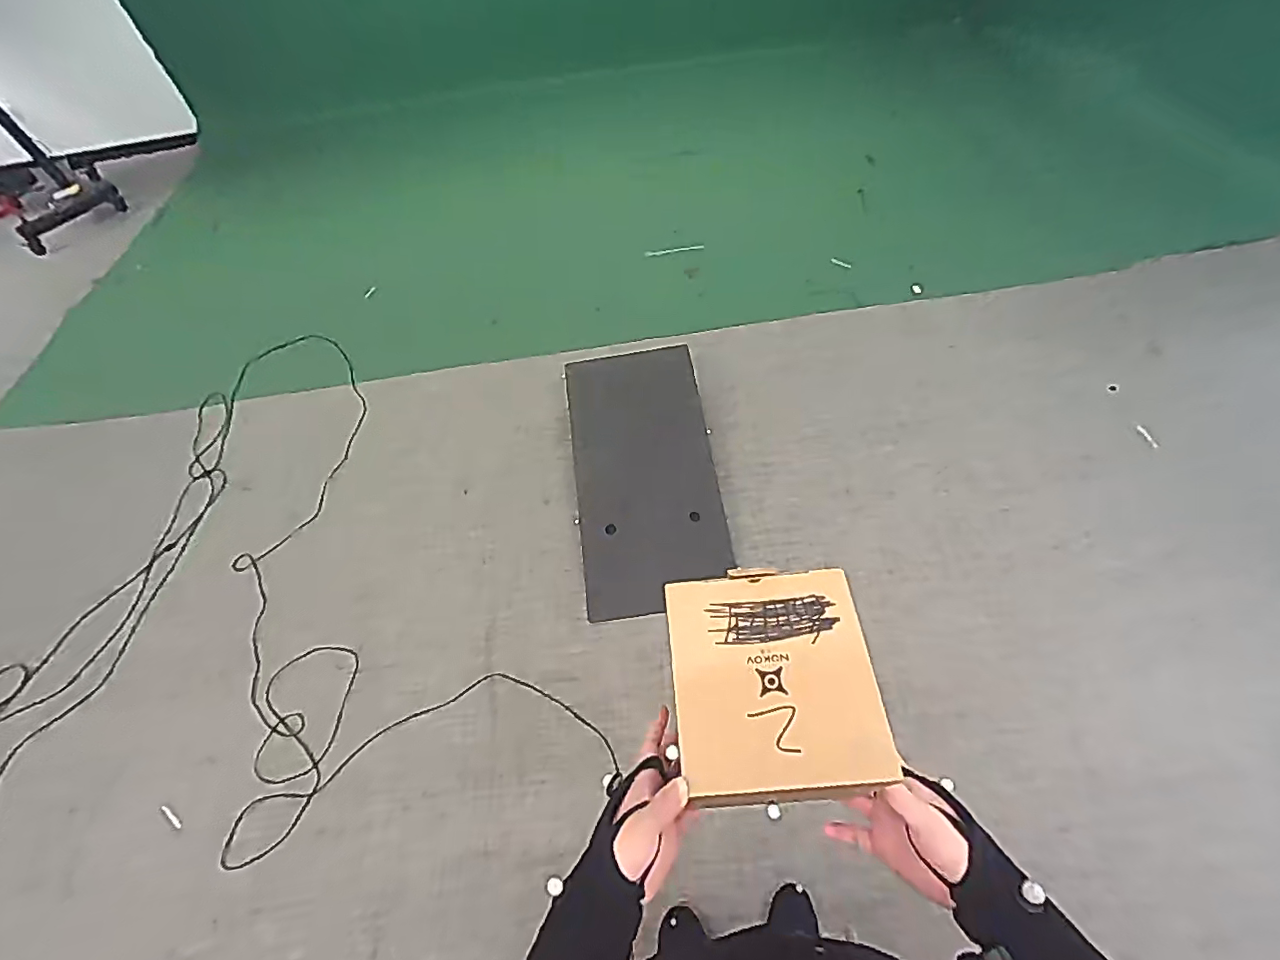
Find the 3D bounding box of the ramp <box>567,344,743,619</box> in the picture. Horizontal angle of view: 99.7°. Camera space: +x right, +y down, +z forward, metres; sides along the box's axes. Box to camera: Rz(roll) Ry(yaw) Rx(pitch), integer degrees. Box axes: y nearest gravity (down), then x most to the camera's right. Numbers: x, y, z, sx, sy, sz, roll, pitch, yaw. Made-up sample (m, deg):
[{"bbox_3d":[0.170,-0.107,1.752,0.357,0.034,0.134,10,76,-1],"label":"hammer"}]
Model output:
[{"bbox_3d":[0.023,-0.045,1.892,0.509,0.206,0.991,-9,55,-1],"label":"ramp"}]
